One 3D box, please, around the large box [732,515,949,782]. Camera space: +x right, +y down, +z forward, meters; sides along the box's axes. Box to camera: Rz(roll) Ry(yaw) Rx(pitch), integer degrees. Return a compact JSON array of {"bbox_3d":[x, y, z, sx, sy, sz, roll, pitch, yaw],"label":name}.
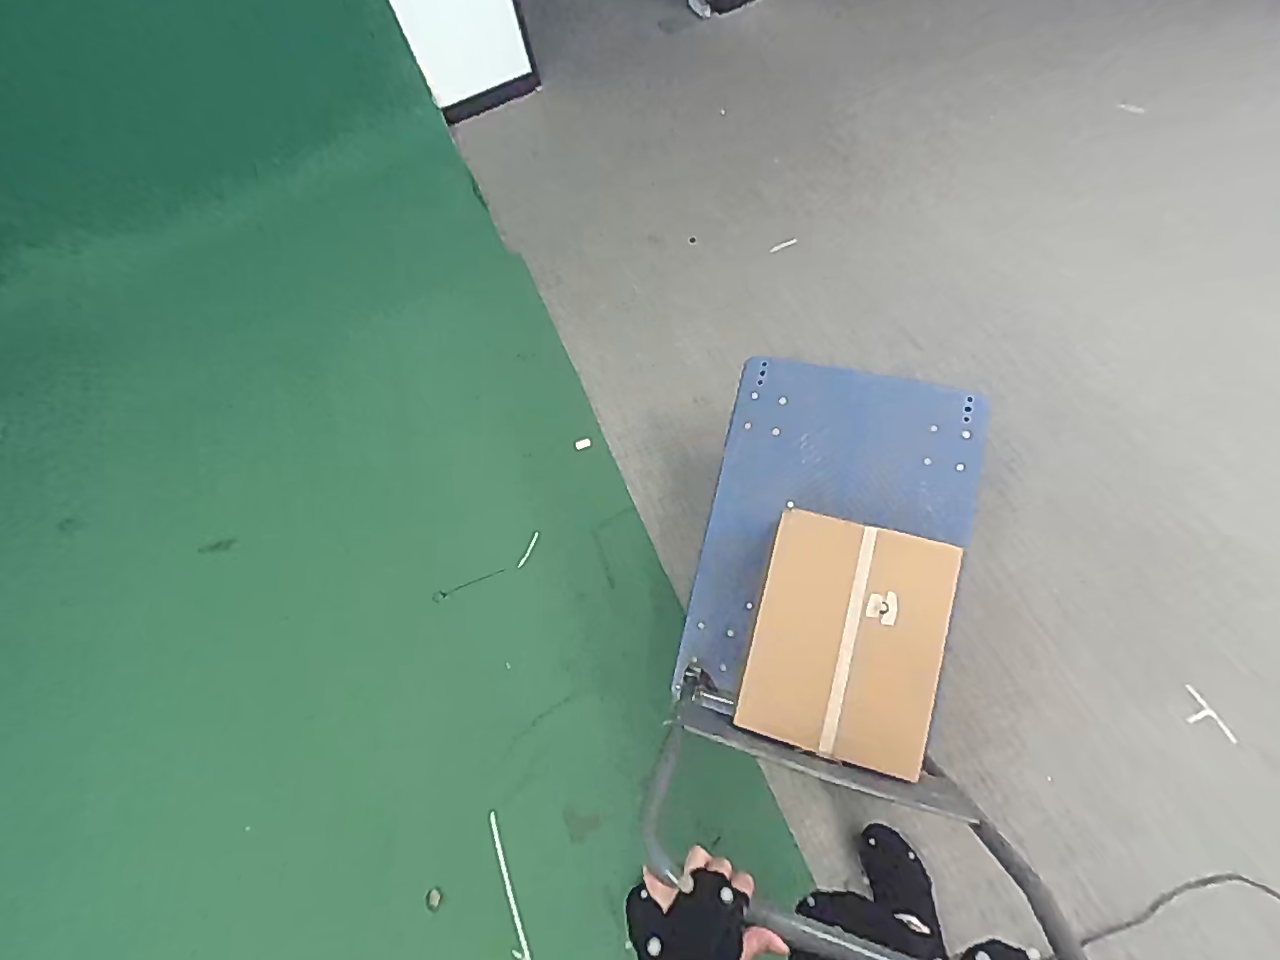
[{"bbox_3d":[0.386,0.318,1.112,0.320,0.320,0.408,14,82,12],"label":"large box"}]
